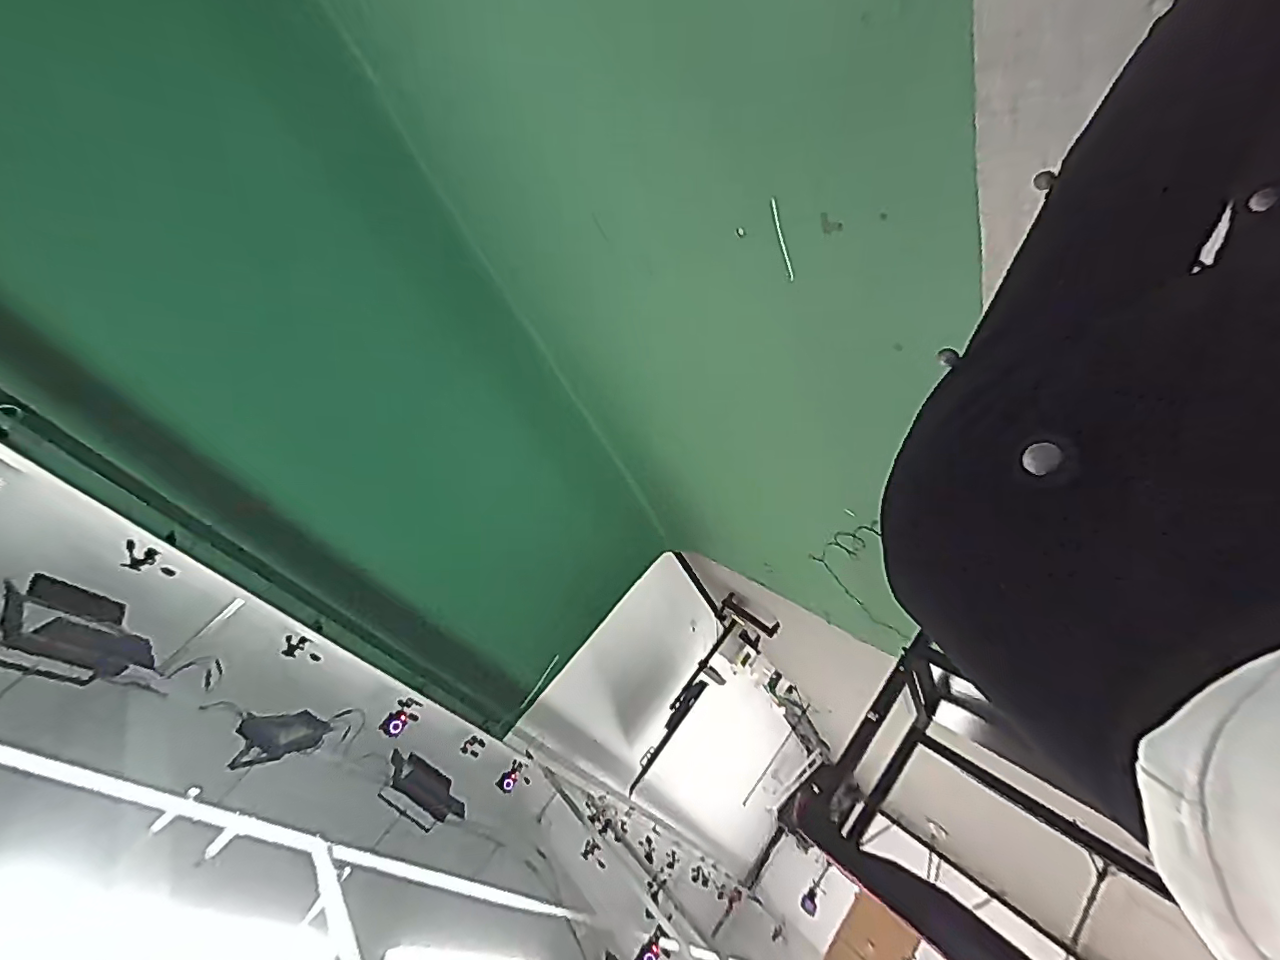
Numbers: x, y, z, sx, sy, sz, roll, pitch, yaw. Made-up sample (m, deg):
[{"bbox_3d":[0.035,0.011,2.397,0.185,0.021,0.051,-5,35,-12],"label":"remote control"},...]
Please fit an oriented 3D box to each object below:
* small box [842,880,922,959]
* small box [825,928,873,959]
[{"bbox_3d":[0.761,1.399,1.687,0.179,0.176,0.168,25,156,43],"label":"small box"},{"bbox_3d":[0.658,1.517,1.639,0.179,0.176,0.168,22,153,43],"label":"small box"}]
